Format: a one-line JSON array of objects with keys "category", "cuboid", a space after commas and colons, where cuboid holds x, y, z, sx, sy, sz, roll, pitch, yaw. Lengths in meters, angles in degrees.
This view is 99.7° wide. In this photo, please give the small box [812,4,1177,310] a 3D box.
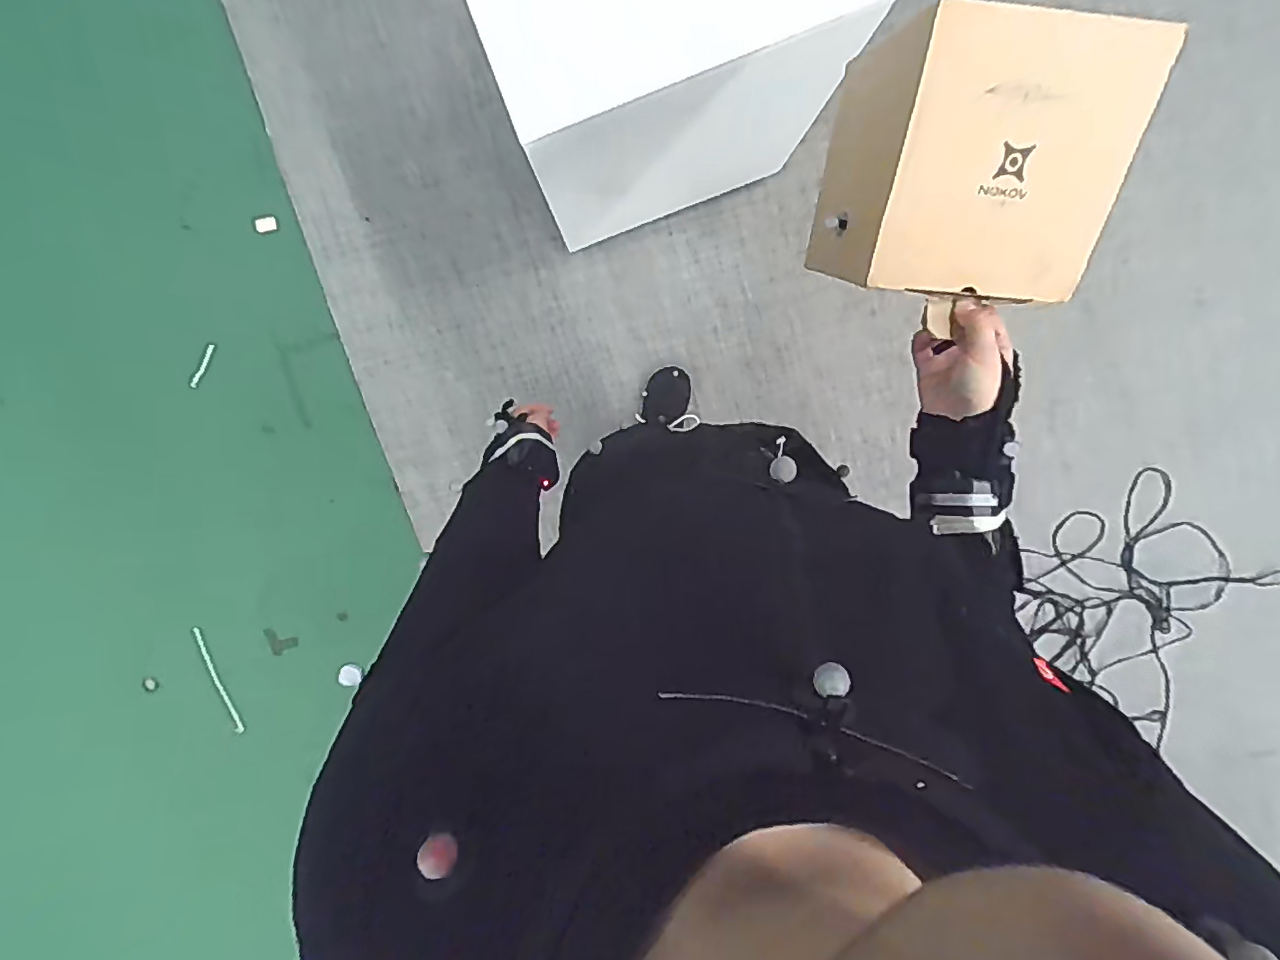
[{"category": "small box", "cuboid": [0.258, -0.251, 0.452, 0.168, 0.176, 0.179, 4, 115, -3]}]
